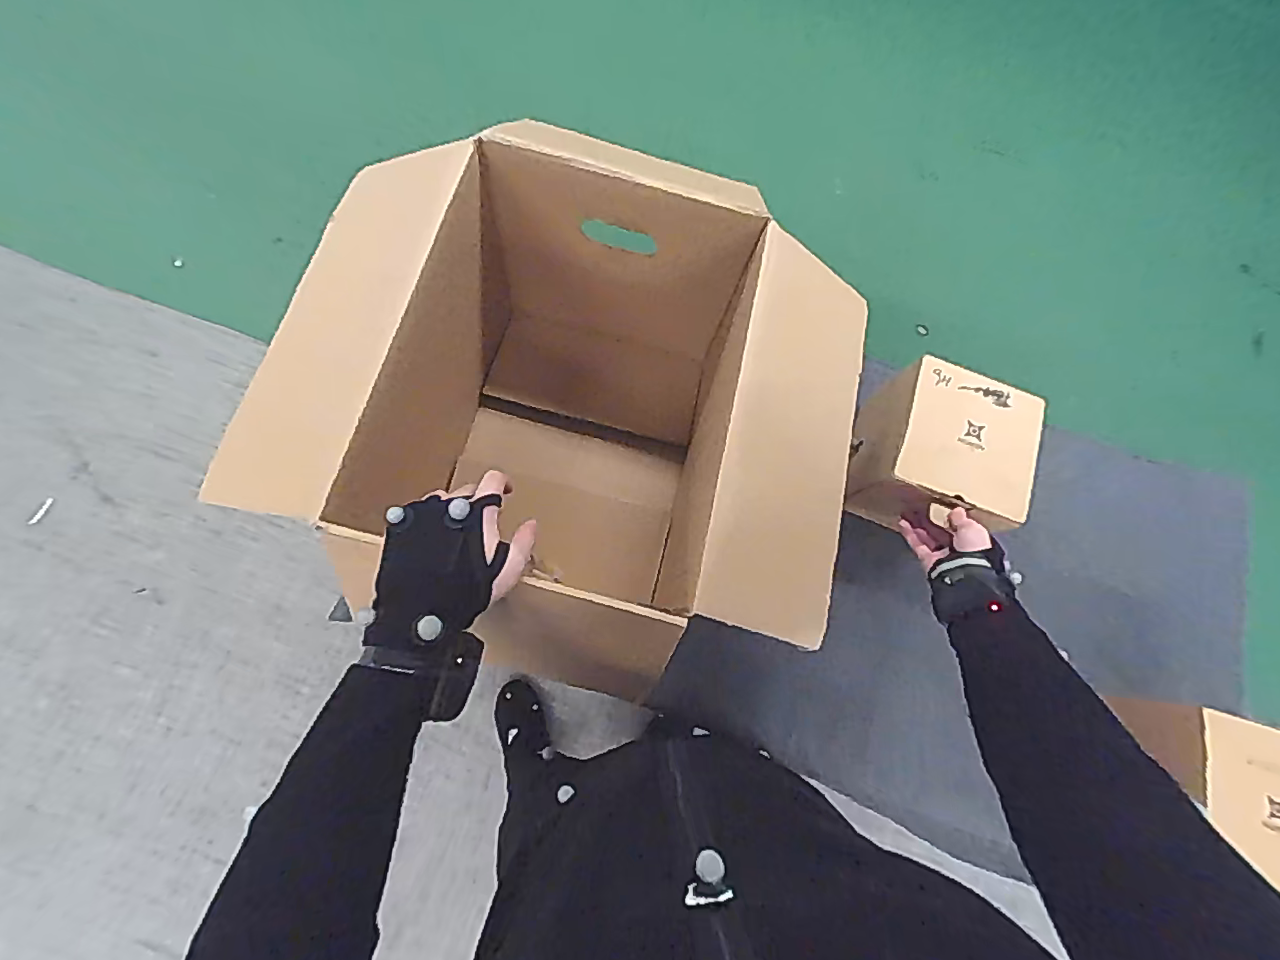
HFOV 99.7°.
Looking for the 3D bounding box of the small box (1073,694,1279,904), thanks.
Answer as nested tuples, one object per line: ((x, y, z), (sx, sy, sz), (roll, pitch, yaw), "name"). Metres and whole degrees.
((0.666, 0.374, 0.650), (0.168, 0.176, 0.179), (18, 72, 0), "small box")
